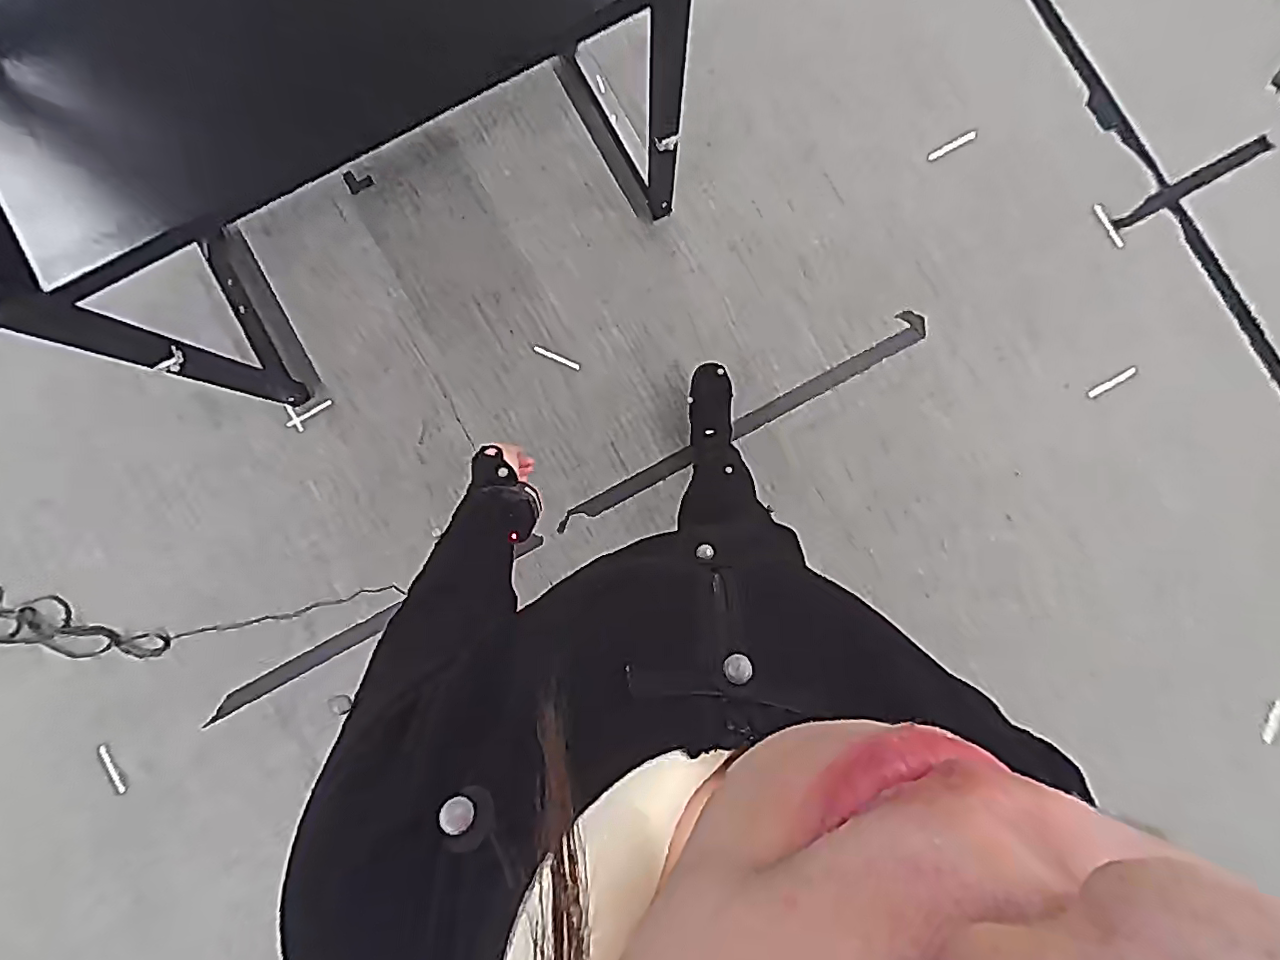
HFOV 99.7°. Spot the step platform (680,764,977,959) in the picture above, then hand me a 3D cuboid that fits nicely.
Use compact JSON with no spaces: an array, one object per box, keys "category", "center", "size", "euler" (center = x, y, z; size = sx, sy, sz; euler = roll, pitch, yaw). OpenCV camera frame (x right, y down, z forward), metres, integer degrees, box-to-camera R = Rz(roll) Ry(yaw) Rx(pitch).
[{"category":"step platform","center":[0.452,0.996,1.345],"size":[0.684,0.204,0.286],"euler":[-23,87,-2]}]
